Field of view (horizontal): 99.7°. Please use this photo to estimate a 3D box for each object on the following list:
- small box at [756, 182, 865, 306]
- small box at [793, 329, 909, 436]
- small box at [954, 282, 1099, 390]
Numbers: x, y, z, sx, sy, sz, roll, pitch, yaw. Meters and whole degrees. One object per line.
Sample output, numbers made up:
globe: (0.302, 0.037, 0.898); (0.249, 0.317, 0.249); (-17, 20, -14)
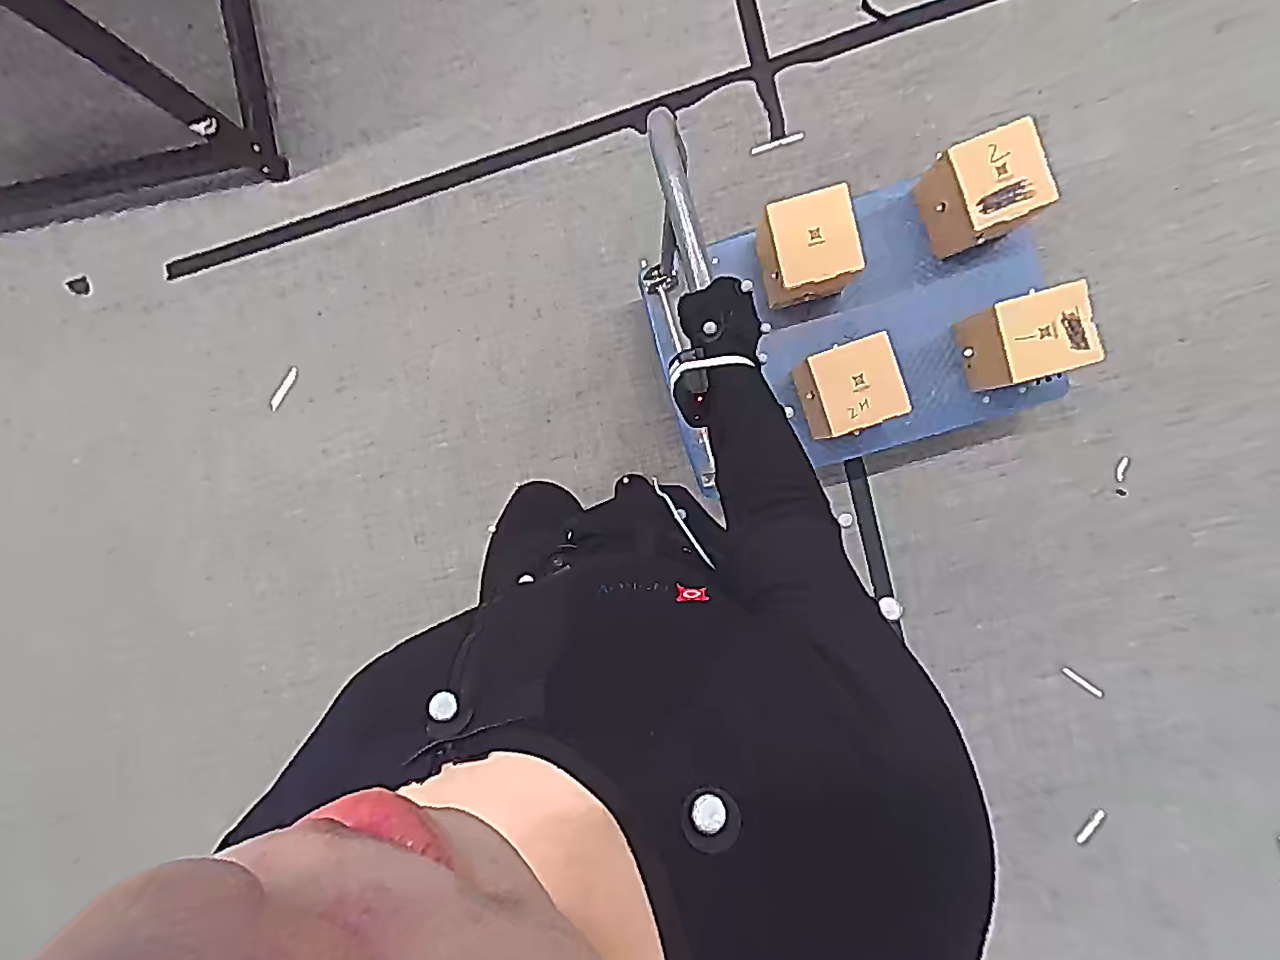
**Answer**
small box: (0.358, -0.499, 1.167); (0.168, 0.176, 0.179); (-14, 94, 4)
small box: (0.447, -0.203, 1.177); (0.168, 0.176, 0.179); (-18, 92, 5)
small box: (0.808, -0.296, 1.146); (0.179, 0.176, 0.168); (-14, 92, 6)
